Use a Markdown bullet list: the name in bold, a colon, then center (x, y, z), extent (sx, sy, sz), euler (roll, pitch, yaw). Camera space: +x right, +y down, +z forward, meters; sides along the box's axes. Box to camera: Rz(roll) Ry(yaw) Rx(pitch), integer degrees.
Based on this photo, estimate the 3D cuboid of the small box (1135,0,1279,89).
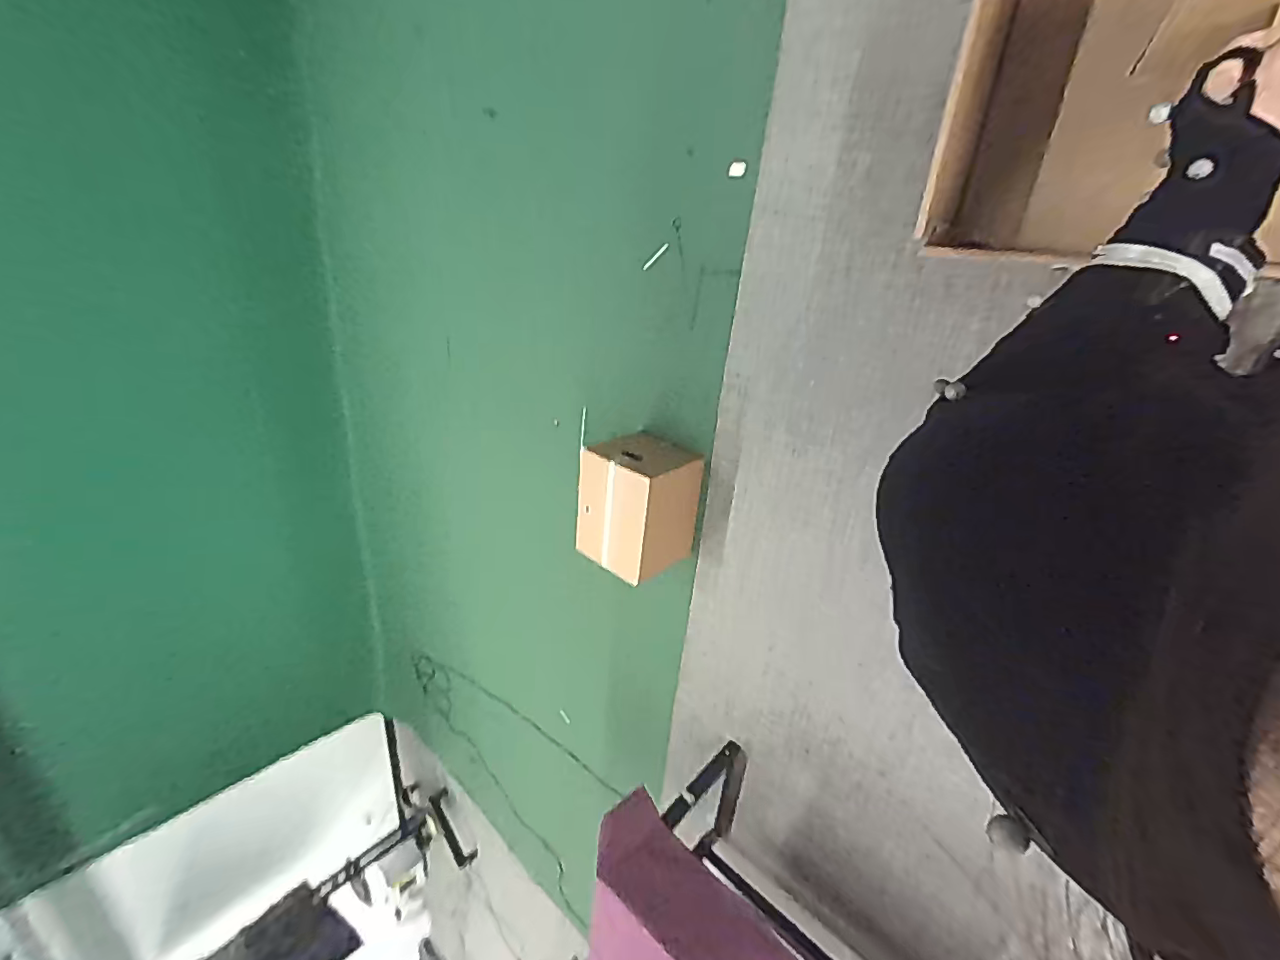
- **small box**: center (0.505, -0.413, 0.382), extent (0.168, 0.176, 0.179), euler (24, 114, 24)
